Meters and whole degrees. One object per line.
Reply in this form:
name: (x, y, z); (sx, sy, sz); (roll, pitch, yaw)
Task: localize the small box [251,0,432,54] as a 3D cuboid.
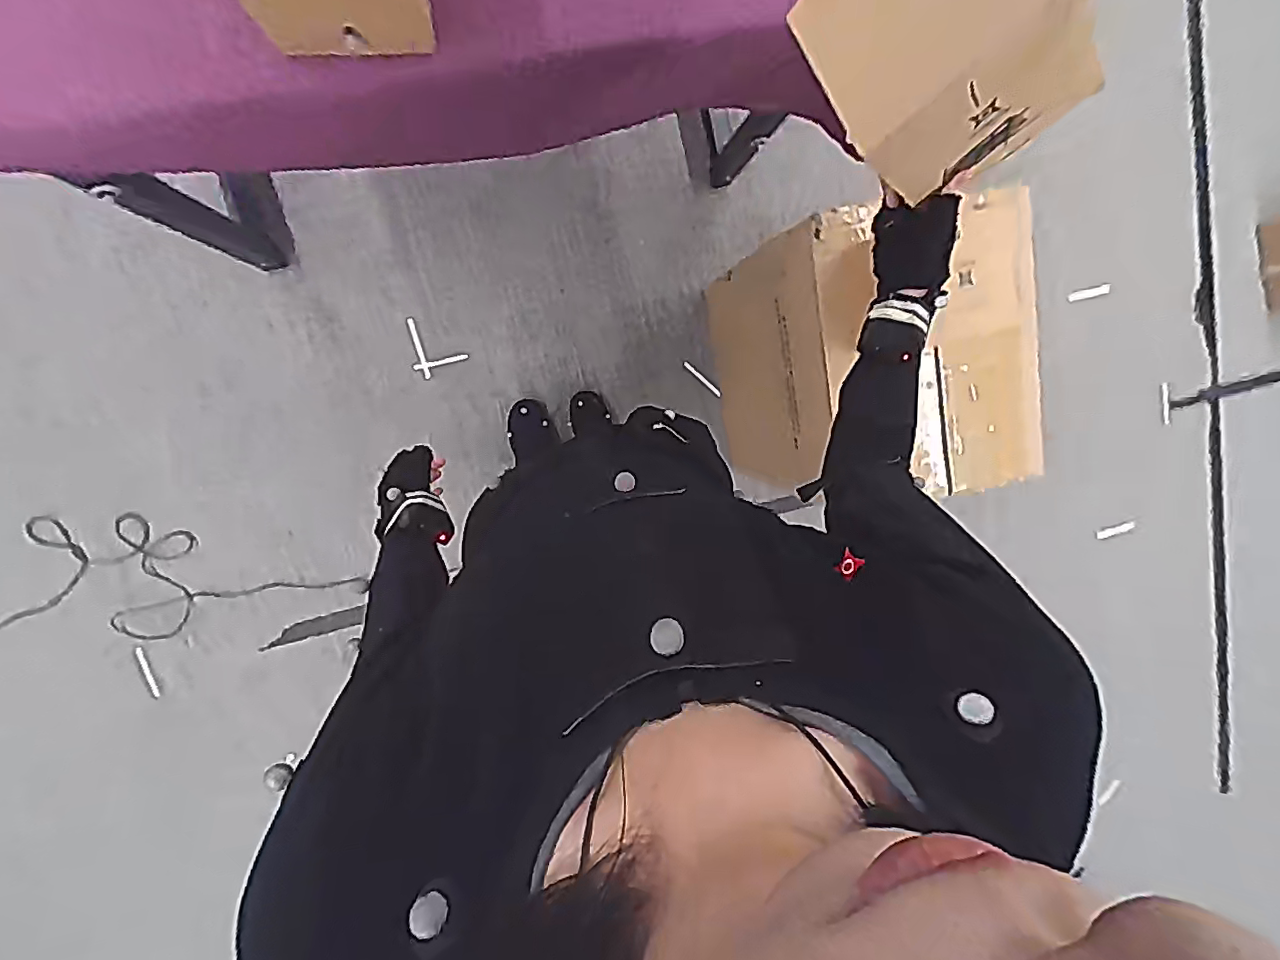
small box: (-0.322, -0.576, 0.553); (0.179, 0.176, 0.168); (-8, 99, -9)

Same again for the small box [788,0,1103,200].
small box: (0.264, -0.396, 0.477); (0.179, 0.168, 0.176); (-5, 69, -46)

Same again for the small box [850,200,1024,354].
small box: (0.446, -0.301, 0.834); (0.168, 0.176, 0.179); (-14, 102, -5)
